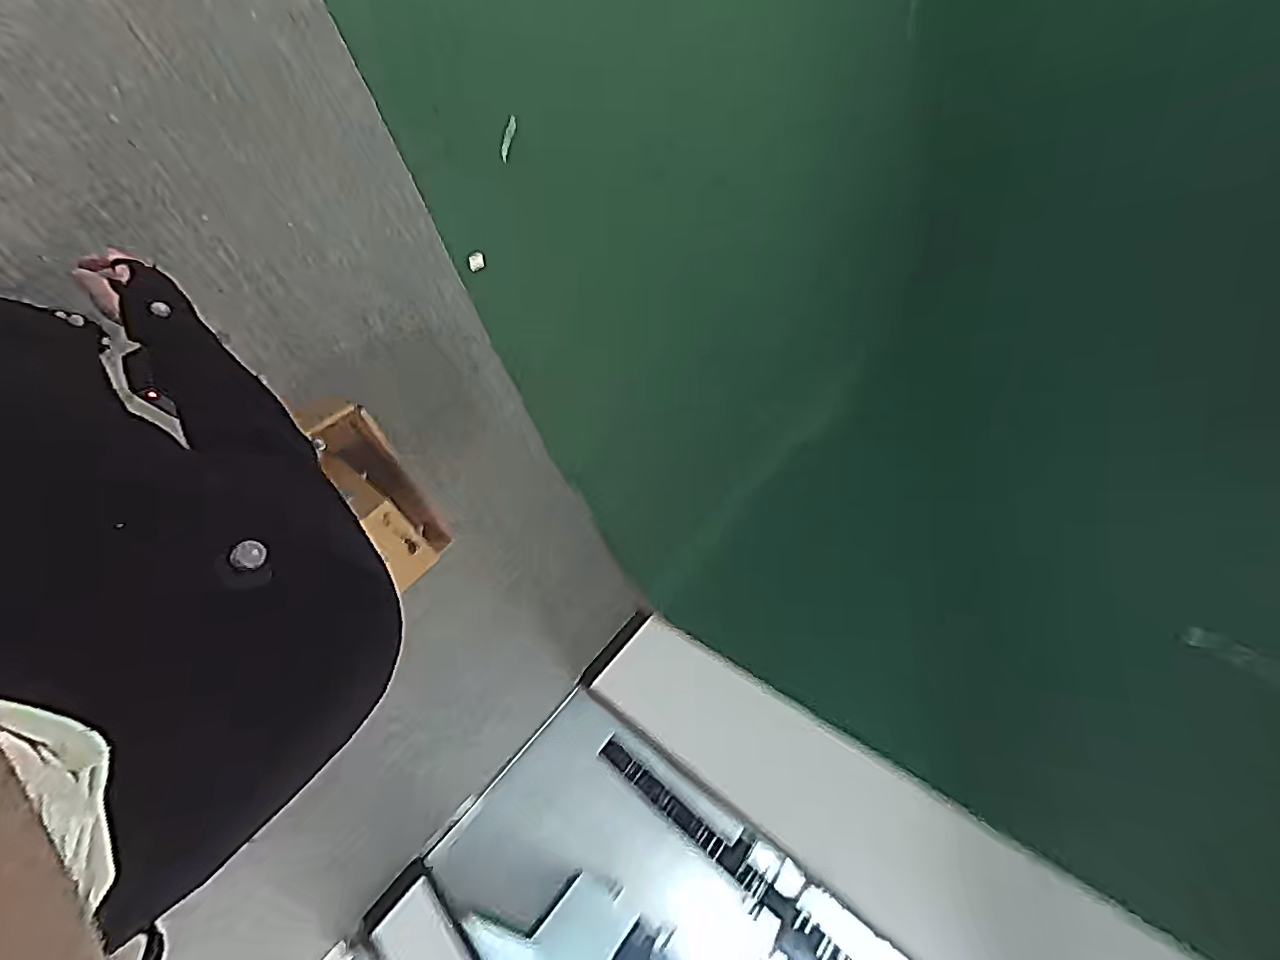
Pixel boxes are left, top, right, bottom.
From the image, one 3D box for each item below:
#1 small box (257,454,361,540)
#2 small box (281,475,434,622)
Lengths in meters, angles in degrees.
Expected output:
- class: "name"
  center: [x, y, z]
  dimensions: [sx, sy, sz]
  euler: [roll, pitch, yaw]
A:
- class: "small box"
  center: [-0.638, 0.071, 1.108]
  dimensions: [0.179, 0.176, 0.168]
  euler: [-41, 133, -24]
- class: "small box"
  center: [-0.526, 0.120, 0.999]
  dimensions: [0.179, 0.176, 0.168]
  euler: [-43, 134, -23]
